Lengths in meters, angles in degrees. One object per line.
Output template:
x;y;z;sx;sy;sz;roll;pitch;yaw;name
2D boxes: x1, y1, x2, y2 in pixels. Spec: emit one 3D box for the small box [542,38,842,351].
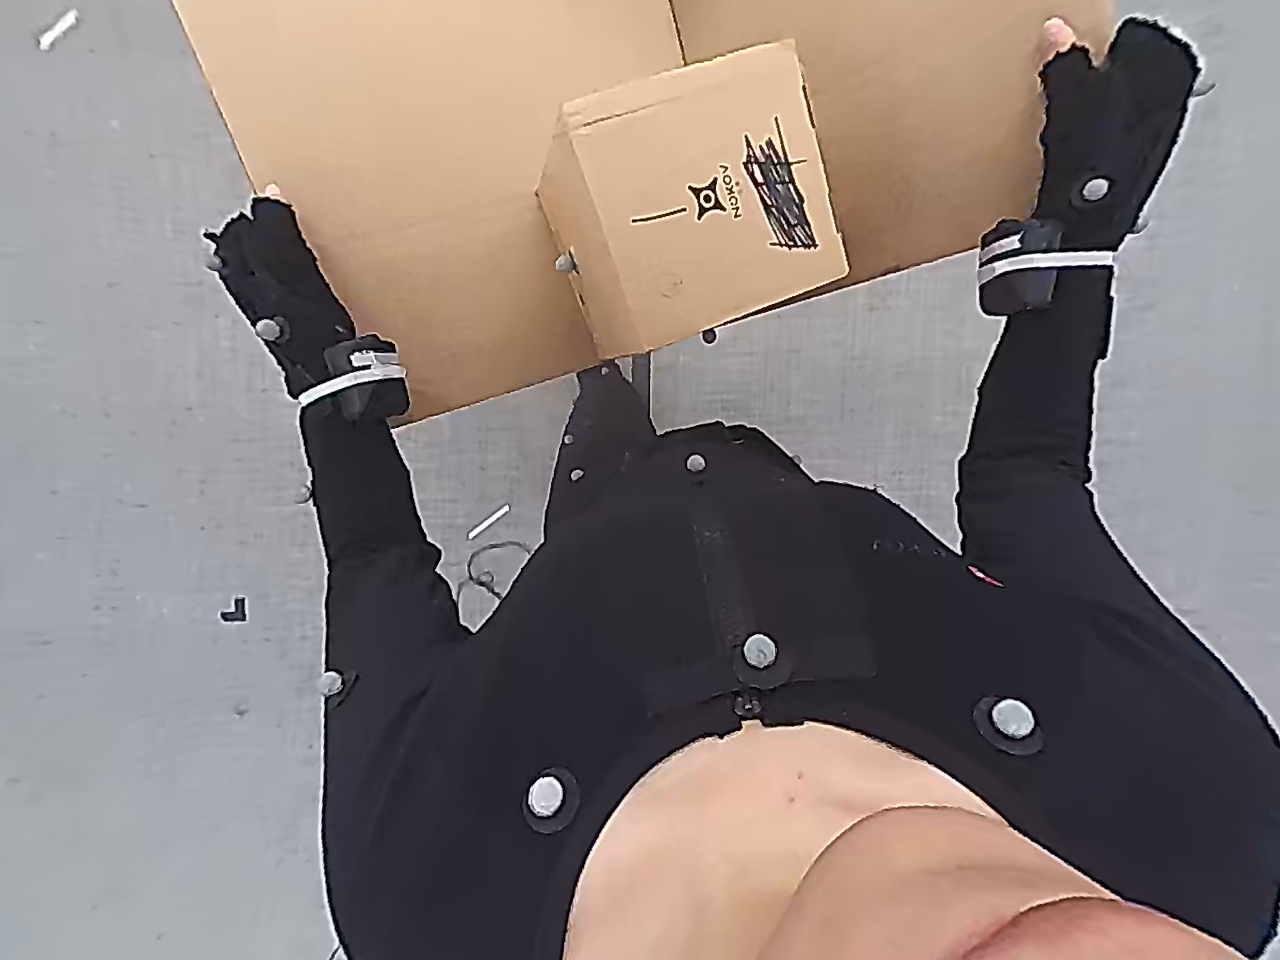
0.032;-0.217;0.458;0.179;0.176;0.168;-24;105;-10;small box
